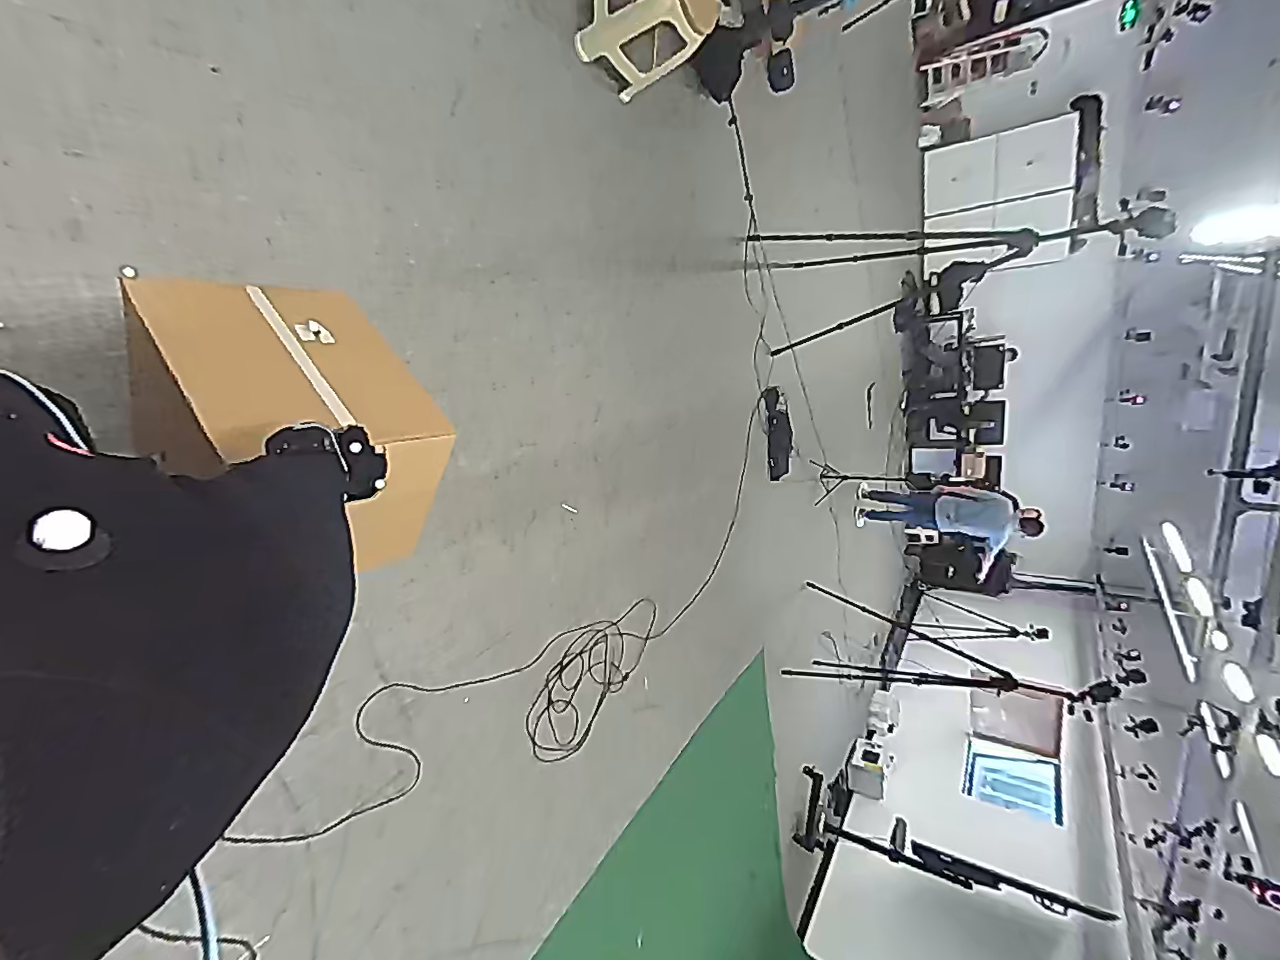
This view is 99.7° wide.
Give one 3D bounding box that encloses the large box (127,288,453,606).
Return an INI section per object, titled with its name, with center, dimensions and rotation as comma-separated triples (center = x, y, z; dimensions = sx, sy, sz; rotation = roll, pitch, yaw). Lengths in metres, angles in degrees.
[large box]
center = -0.588, -0.072, 0.914
dimensions = 0.320, 0.408, 0.320
rotation = -17, 146, -50
